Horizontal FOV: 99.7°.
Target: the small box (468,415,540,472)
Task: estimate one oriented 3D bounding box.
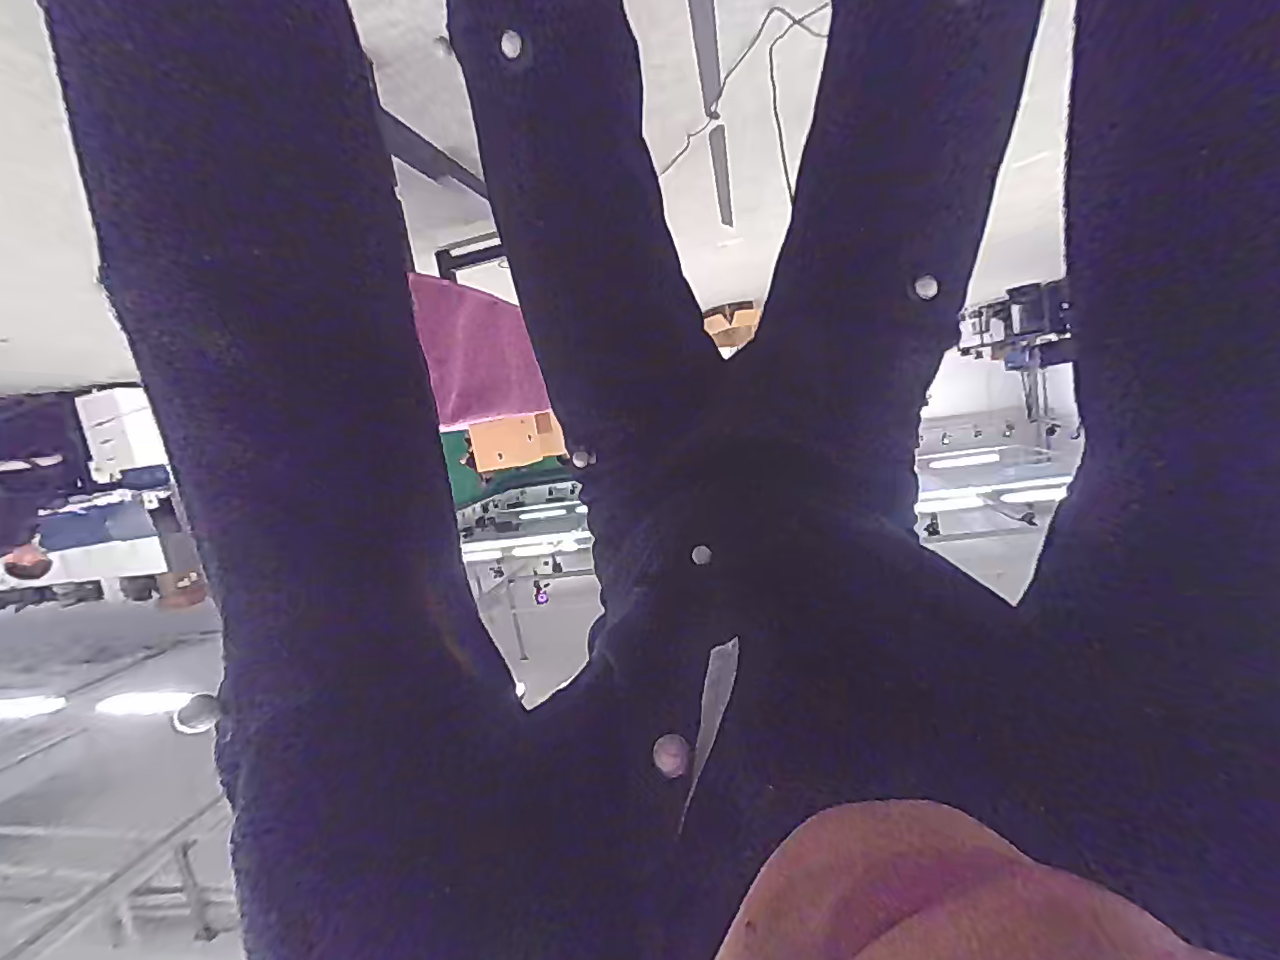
[{"bbox_3d":[-0.476,-0.133,1.895,0.179,0.176,0.168,-8,-172,15],"label":"small box"}]

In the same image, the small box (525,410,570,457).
[{"bbox_3d":[-0.399,-0.183,2.154,0.179,0.176,0.168,-7,-171,17],"label":"small box"}]
